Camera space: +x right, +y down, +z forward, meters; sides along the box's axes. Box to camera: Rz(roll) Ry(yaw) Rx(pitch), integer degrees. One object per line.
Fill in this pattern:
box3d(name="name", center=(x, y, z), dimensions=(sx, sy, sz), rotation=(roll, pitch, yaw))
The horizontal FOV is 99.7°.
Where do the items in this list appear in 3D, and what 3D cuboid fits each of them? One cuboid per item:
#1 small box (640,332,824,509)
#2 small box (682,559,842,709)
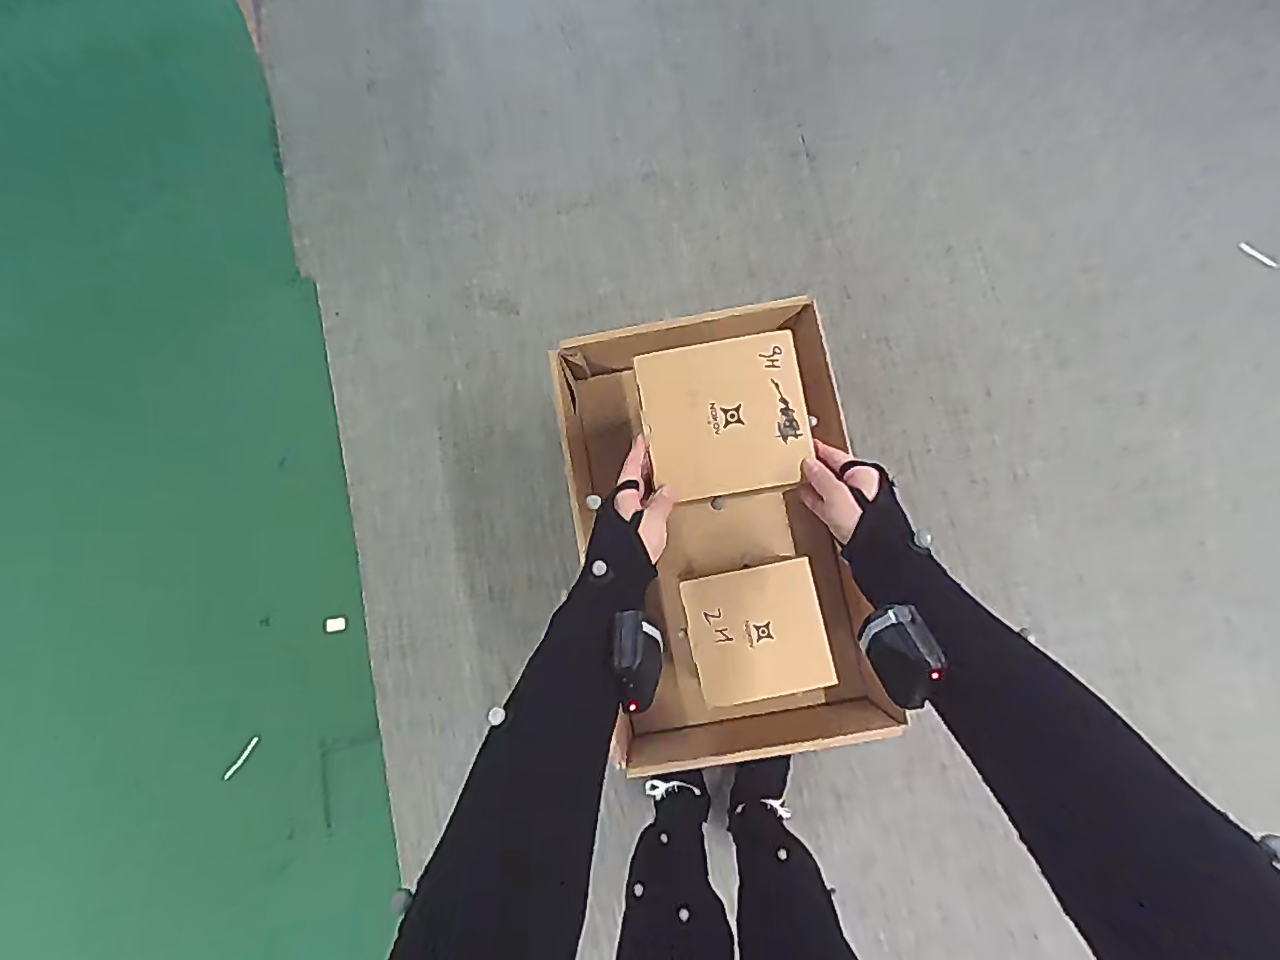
box3d(name="small box", center=(0.102, -0.059, 0.653), dimensions=(0.179, 0.176, 0.168), rotation=(-9, 84, 2))
box3d(name="small box", center=(0.161, 0.208, 0.775), dimensions=(0.179, 0.176, 0.168), rotation=(-11, 81, 2))
